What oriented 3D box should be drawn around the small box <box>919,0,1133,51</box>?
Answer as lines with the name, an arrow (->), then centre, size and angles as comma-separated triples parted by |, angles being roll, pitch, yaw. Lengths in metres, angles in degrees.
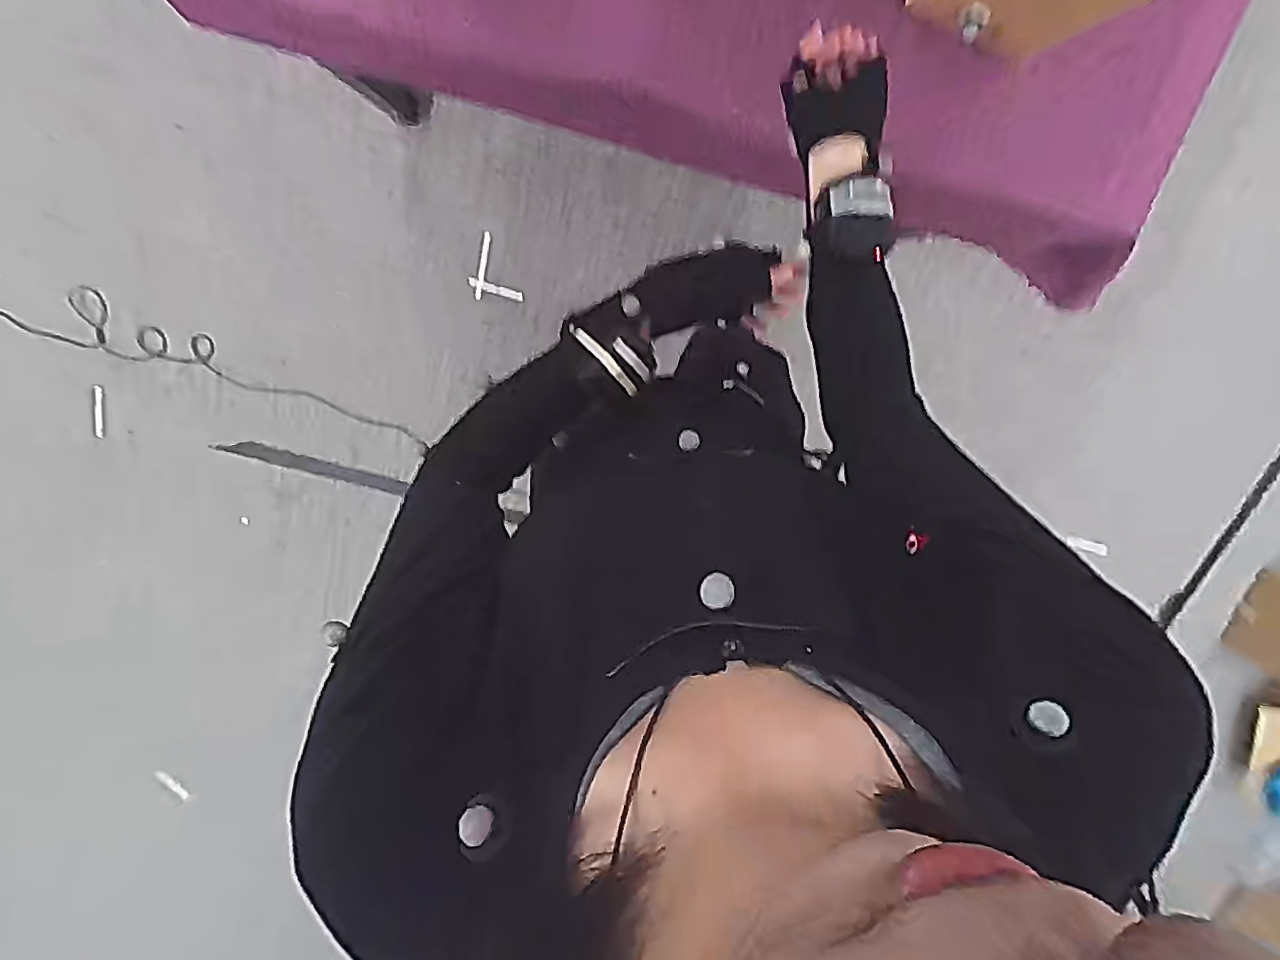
small box -> 0.402, -0.560, 0.509 | 0.168, 0.176, 0.179 | 15, 110, -8
